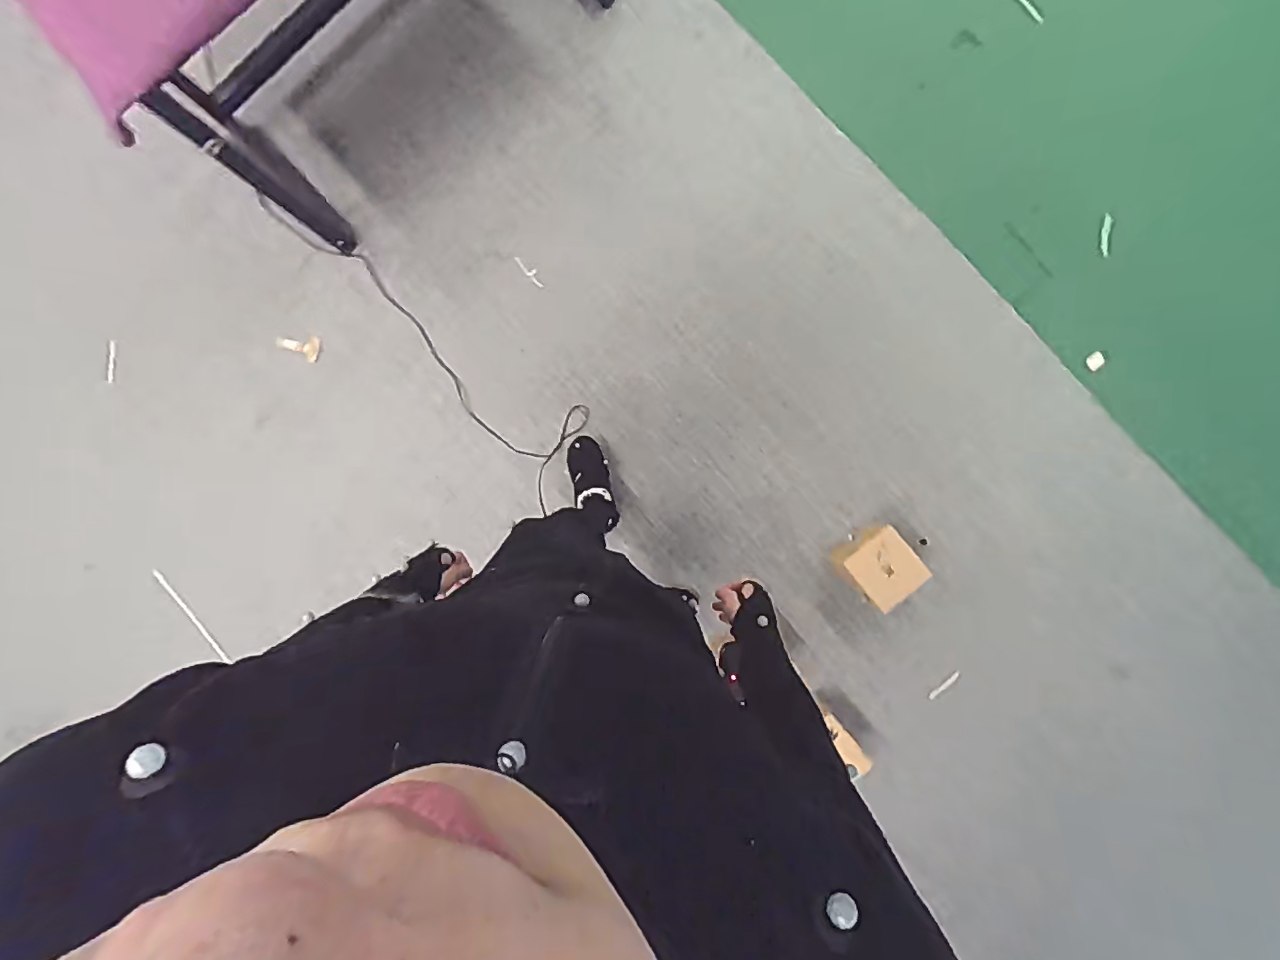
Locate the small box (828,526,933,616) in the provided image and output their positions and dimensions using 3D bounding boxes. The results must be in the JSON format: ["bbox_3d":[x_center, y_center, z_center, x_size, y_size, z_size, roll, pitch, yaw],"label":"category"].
[{"bbox_3d":[0.654,0.241,1.491,0.168,0.176,0.179,-39,86,2],"label":"small box"}]

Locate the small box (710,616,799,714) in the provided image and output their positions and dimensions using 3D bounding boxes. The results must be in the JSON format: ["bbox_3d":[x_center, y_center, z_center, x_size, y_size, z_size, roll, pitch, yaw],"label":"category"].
[{"bbox_3d":[0.310,0.506,1.509,0.179,0.176,0.168,-38,86,3],"label":"small box"}]
